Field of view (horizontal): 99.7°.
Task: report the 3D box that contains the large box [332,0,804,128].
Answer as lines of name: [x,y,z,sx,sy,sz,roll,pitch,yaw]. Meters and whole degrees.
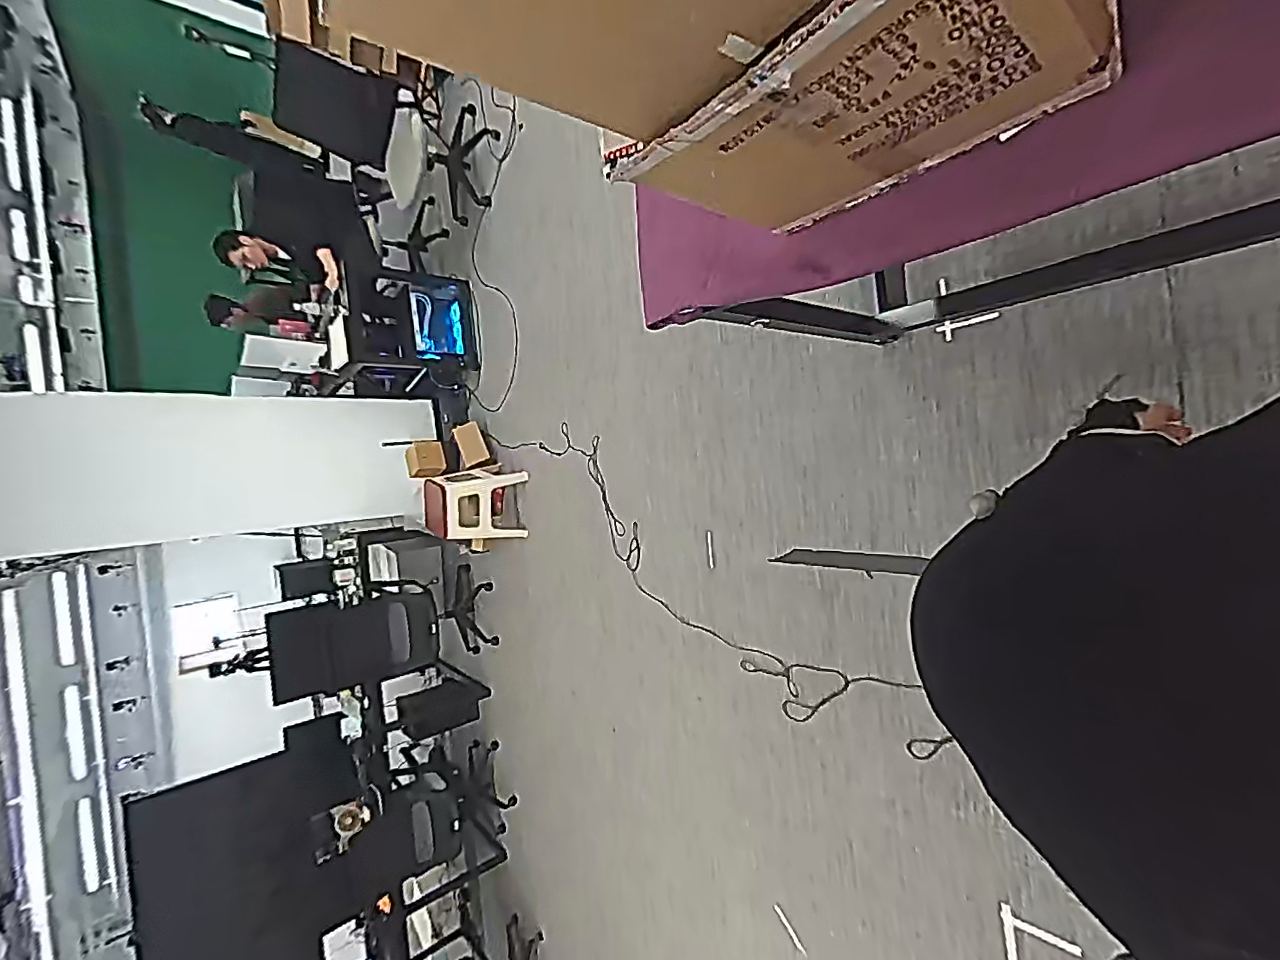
large box: [-0.034,-0.556,0.362,0.320,0.320,0.408,-1,94,55]
